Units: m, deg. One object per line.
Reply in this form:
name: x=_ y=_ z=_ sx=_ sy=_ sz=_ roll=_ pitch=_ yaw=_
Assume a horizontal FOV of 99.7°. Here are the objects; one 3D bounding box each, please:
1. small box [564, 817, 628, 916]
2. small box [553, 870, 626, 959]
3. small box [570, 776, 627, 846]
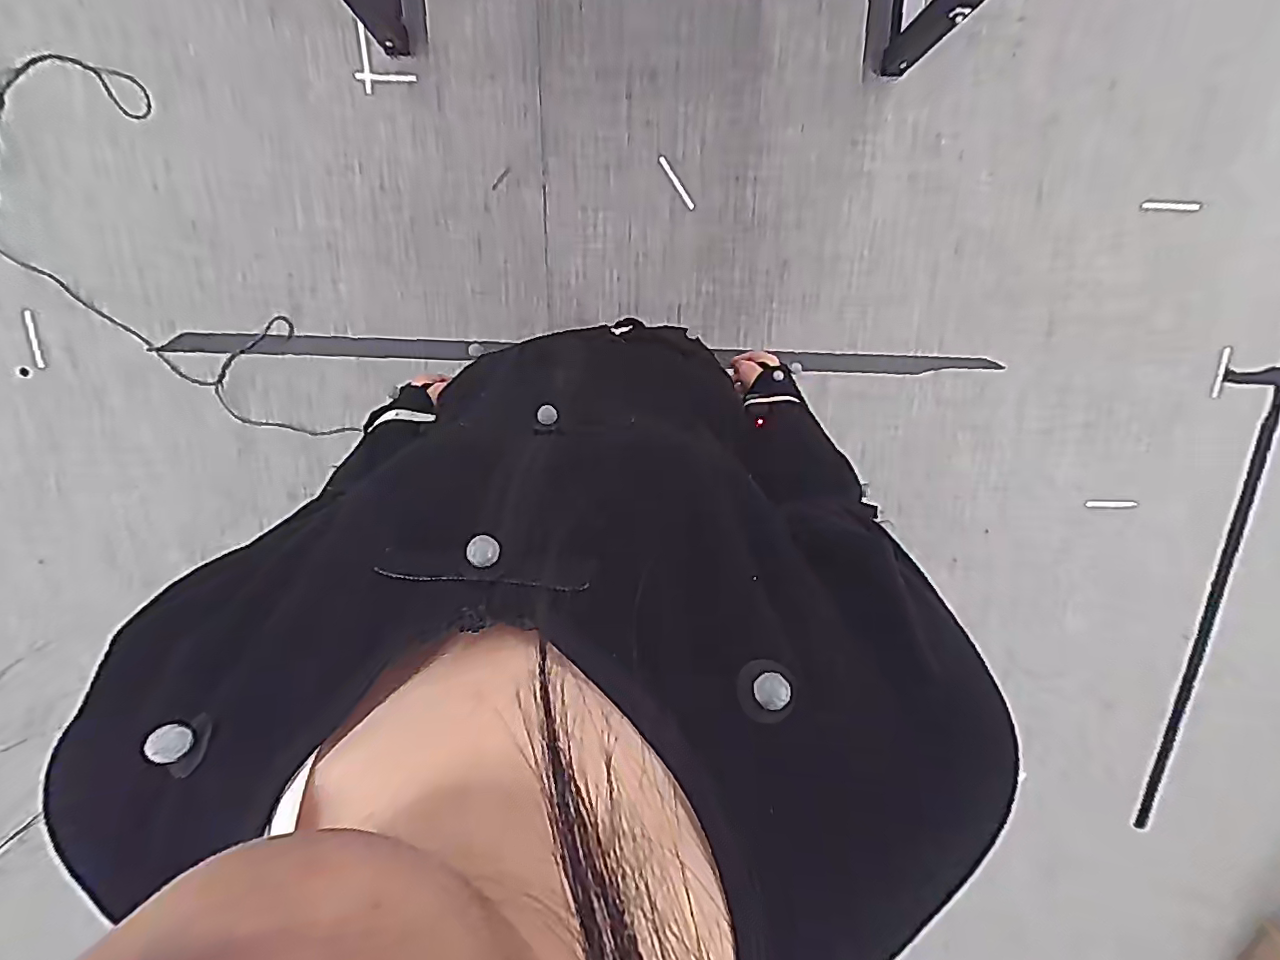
small box: x=-0.120 y=1.106 z=1.546 sx=0.168 sy=0.176 sz=0.179 roll=-5 pitch=106 yaw=-2
small box: x=-0.123 y=1.149 z=1.386 sx=0.168 sy=0.176 sz=0.179 roll=-5 pitch=105 yaw=-1
small box: x=-0.128 y=1.060 z=1.703 sx=0.168 sy=0.176 sz=0.179 roll=-3 pitch=105 yaw=-2
